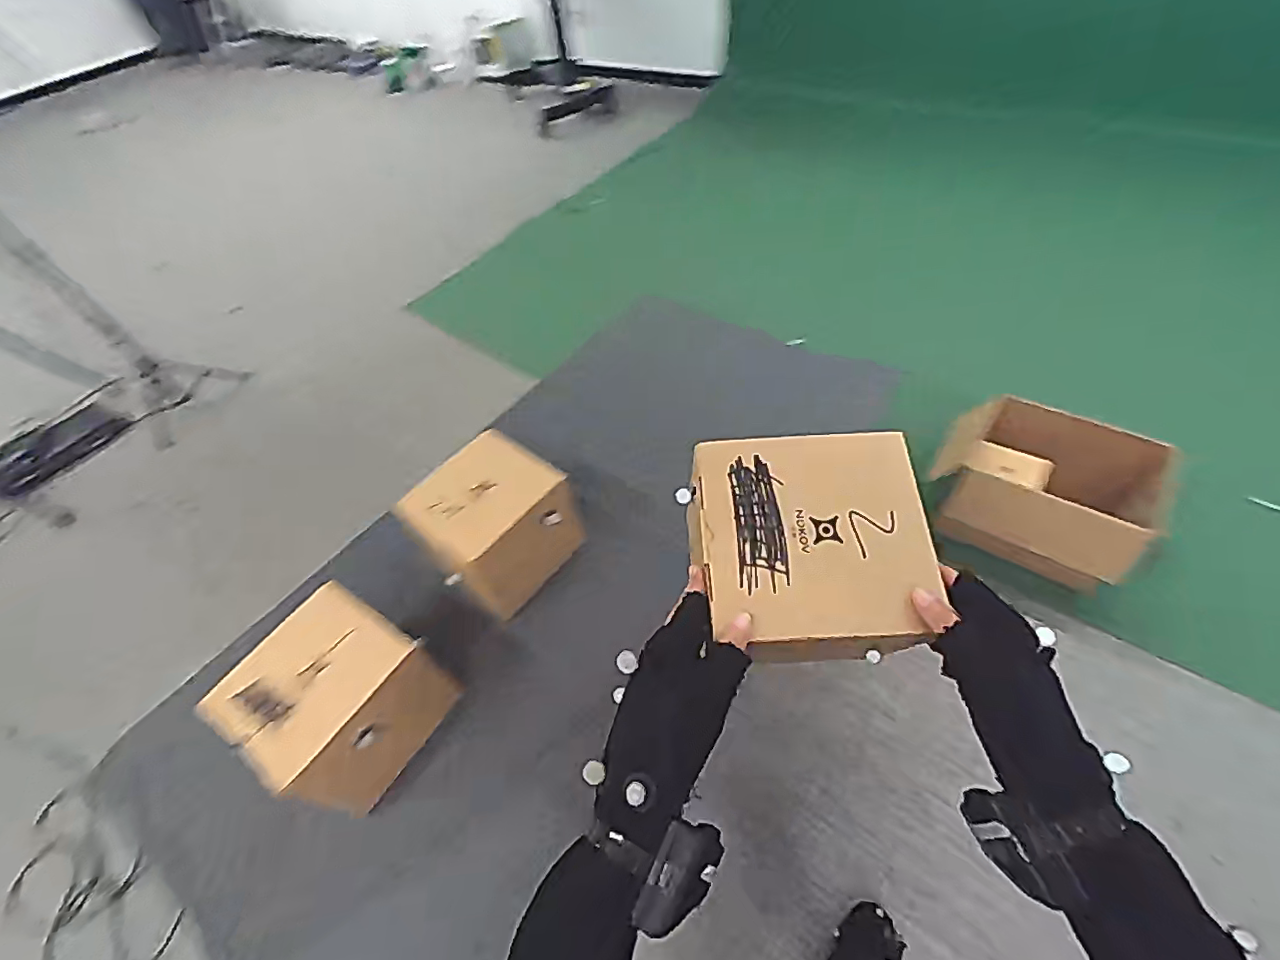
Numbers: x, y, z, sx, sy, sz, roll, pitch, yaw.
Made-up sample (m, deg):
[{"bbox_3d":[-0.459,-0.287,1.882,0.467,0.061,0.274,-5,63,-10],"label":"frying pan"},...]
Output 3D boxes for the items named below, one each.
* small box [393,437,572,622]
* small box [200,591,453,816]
[{"bbox_3d":[-0.218,0.074,0.805,0.168,0.176,0.179,29,61,27],"label":"small box"},{"bbox_3d":[-0.366,0.278,0.666,0.168,0.176,0.179,24,58,24],"label":"small box"}]
